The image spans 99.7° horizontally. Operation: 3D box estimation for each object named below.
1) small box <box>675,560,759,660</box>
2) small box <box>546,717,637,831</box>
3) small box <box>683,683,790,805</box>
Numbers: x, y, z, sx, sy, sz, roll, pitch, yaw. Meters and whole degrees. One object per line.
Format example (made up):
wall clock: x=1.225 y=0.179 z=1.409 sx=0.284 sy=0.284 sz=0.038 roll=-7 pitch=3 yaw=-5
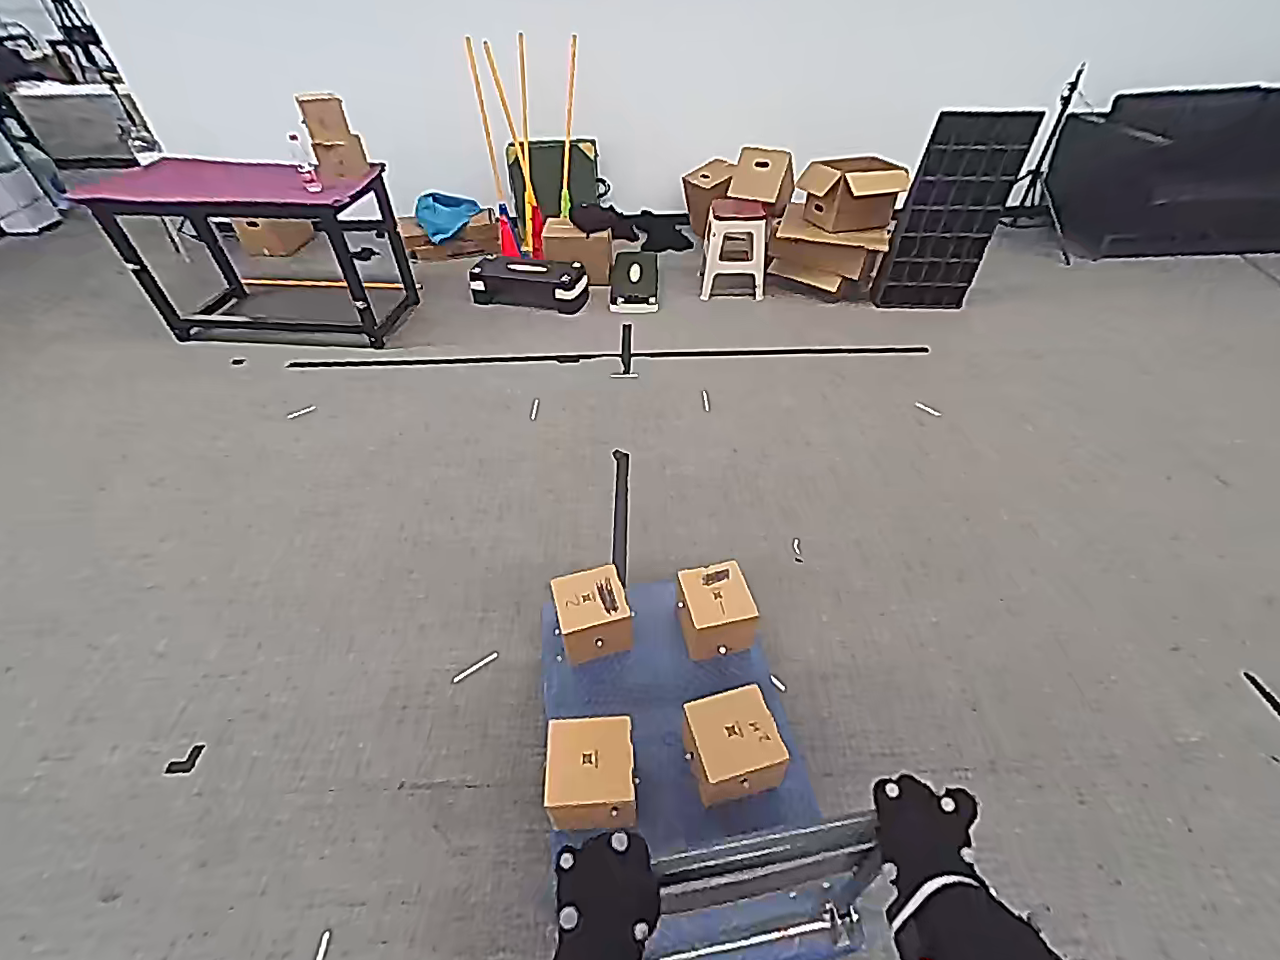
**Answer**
small box: x=0.193 y=0.342 z=1.421 sx=0.168 sy=0.176 sz=0.179 roll=-10 pitch=46 yaw=-9
small box: x=-0.098 y=0.622 z=1.140 sx=0.179 sy=0.176 sz=0.168 roll=-3 pitch=44 yaw=-3
small box: x=0.201 y=0.578 z=1.177 sx=0.179 sy=0.176 sz=0.168 roll=-12 pitch=45 yaw=-11
